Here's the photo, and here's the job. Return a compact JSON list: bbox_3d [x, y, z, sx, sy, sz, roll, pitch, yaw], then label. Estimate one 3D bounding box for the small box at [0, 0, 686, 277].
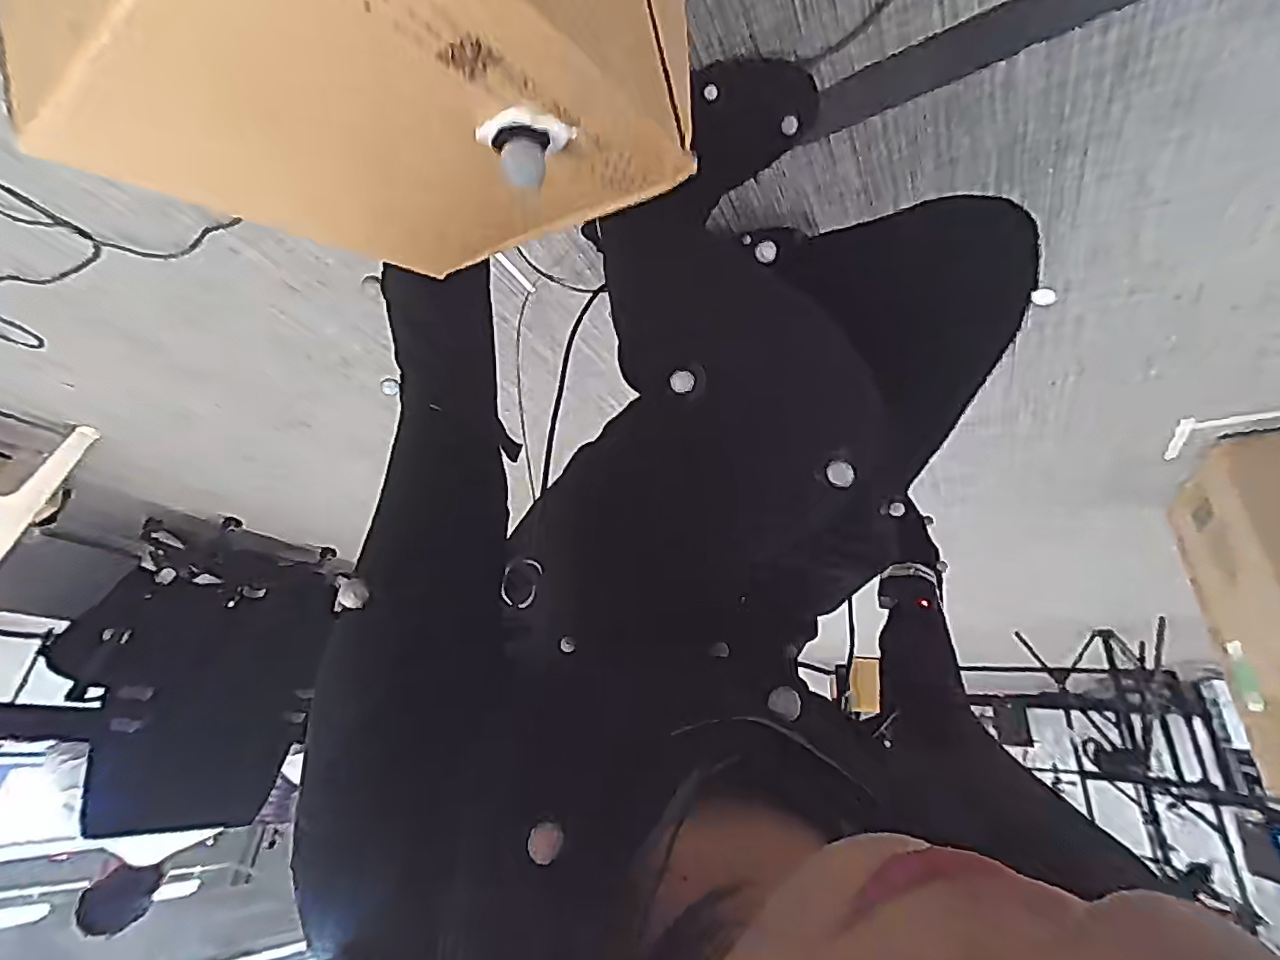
[{"bbox_3d":[-0.094,-0.195,0.188,0.176,0.179,0.168,-4,-178,31],"label":"small box"}]
